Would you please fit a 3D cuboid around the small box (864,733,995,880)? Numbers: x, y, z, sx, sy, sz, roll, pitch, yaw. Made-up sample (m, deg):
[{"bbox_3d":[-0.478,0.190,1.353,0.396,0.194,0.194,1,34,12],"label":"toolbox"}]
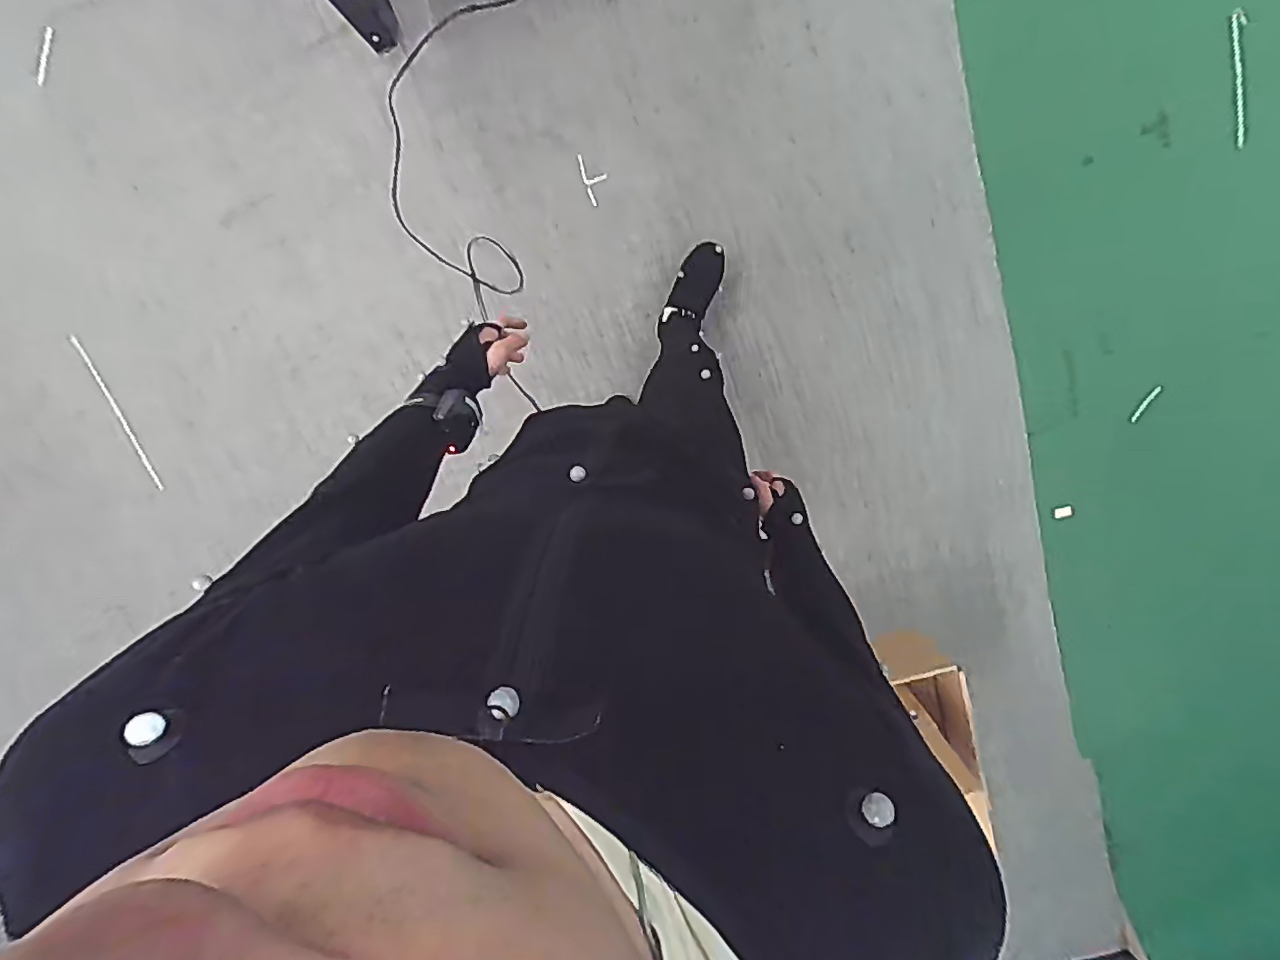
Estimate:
[{"bbox_3d":[0.581,0.657,1.102,0.168,0.176,0.179,-17,103,4],"label":"small box"}]
